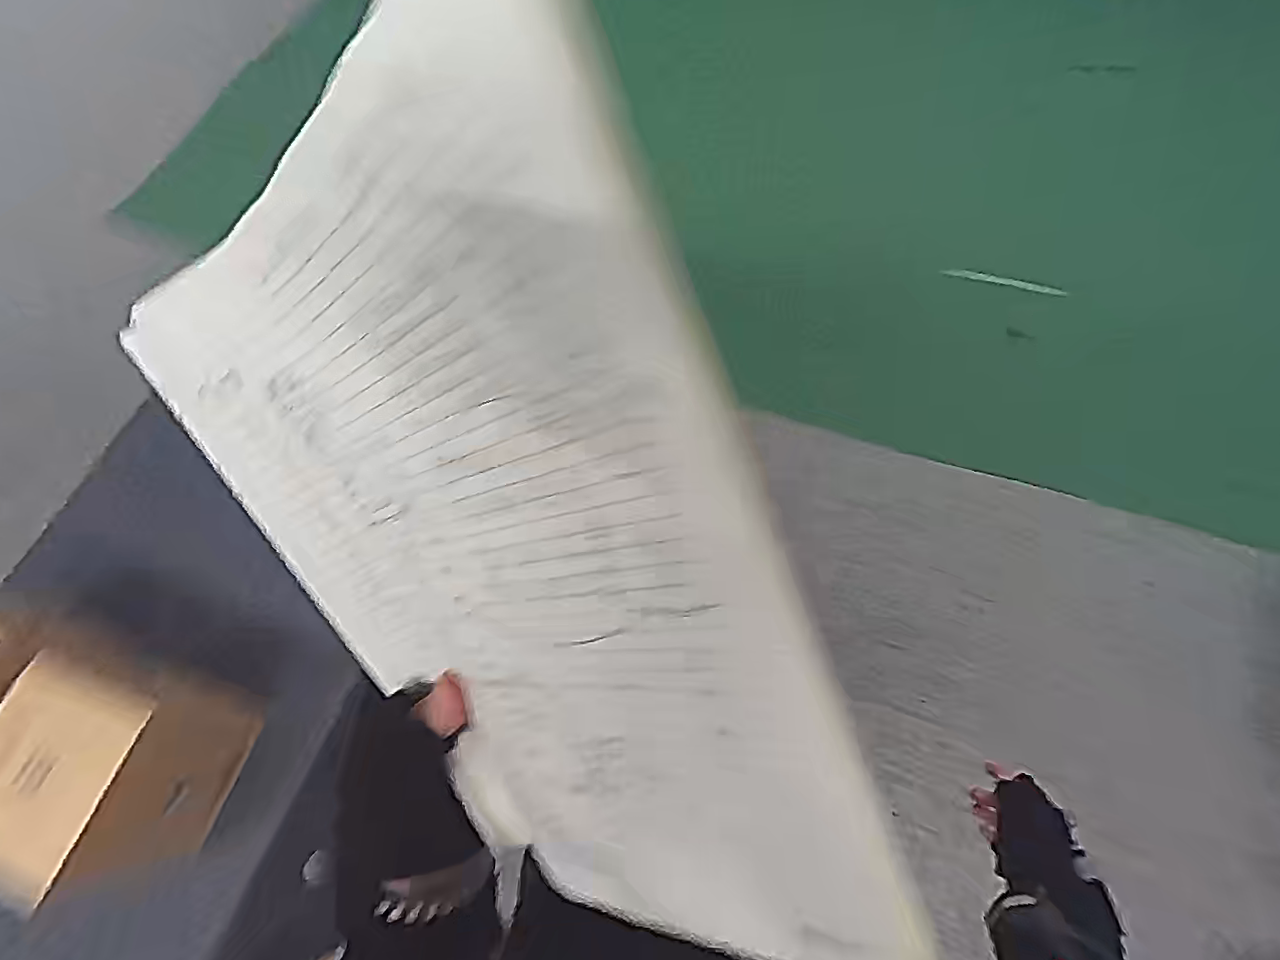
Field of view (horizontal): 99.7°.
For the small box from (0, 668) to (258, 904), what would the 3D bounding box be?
[{"bbox_3d":[-0.589,0.321,0.606,0.179,0.176,0.168,14,70,13],"label":"small box"}]
